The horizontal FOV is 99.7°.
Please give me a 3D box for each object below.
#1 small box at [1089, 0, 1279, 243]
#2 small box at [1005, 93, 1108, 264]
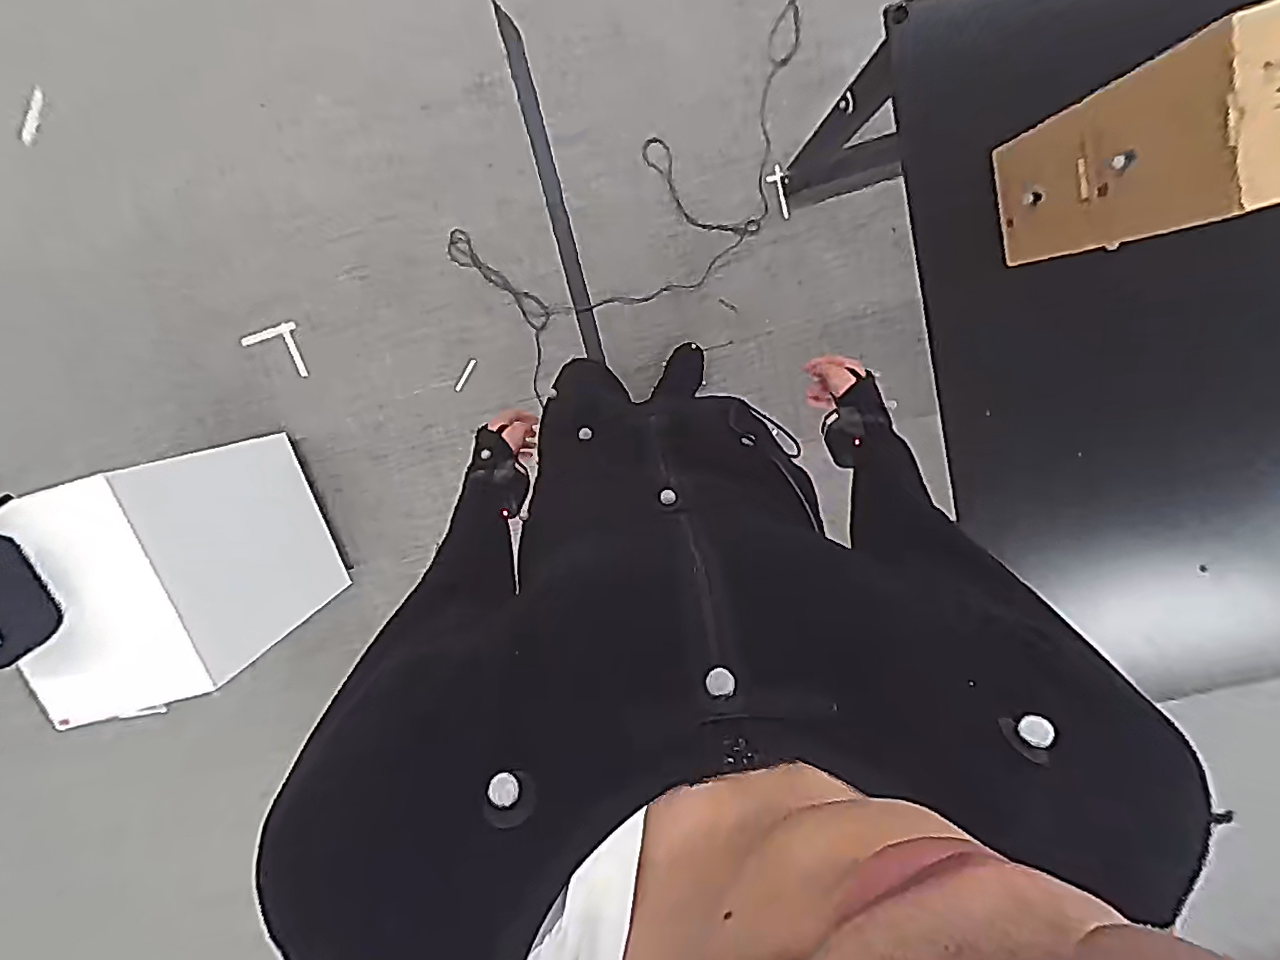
[{"bbox_3d":[0.609,-0.359,0.543,0.179,0.176,0.168,-16,102,5],"label":"small box"},{"bbox_3d":[0.610,-0.397,0.704,0.179,0.176,0.168,-16,103,6],"label":"small box"}]
